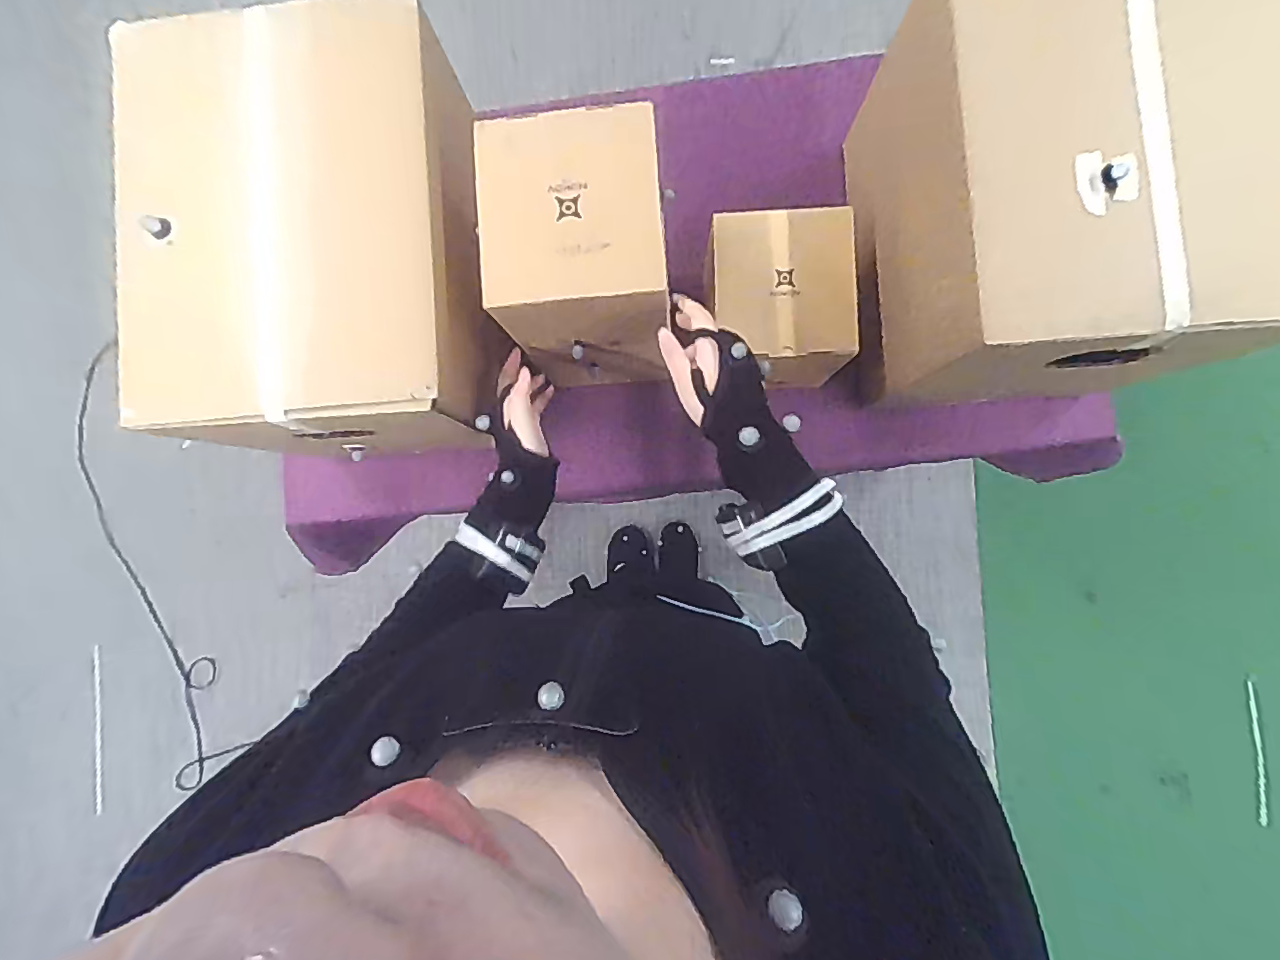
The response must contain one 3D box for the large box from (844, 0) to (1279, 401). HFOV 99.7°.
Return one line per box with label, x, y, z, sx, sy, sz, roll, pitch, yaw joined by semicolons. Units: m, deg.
large box;0.457;-0.323;0.640;0.320;0.320;0.408;-3;88;3
